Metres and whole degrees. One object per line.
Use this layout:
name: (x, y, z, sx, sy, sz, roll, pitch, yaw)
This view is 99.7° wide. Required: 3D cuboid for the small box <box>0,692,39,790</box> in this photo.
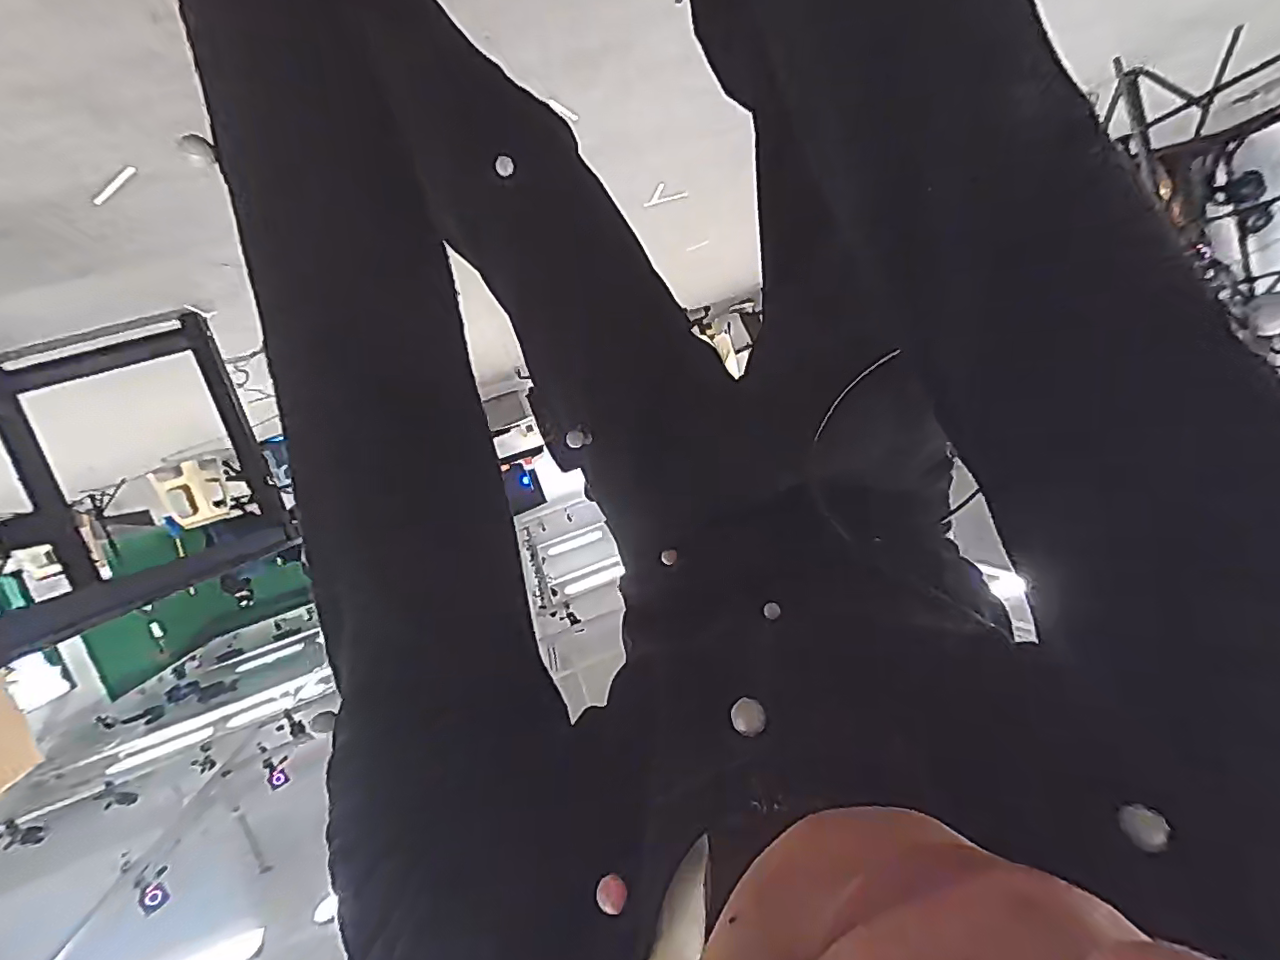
small box: (-0.979, 0.374, 0.706, 0.179, 0.176, 0.168, -20, -172, -19)
